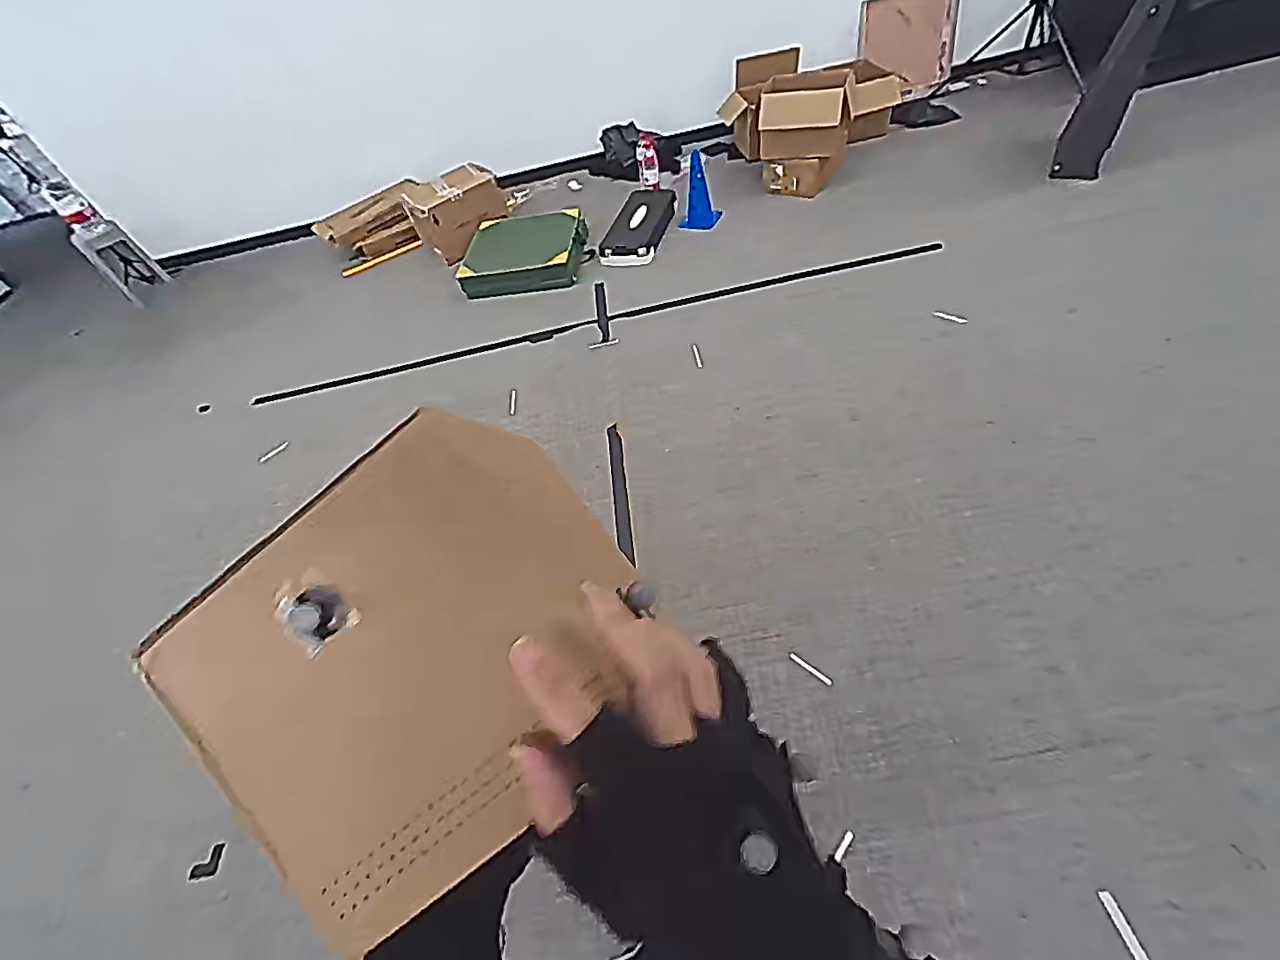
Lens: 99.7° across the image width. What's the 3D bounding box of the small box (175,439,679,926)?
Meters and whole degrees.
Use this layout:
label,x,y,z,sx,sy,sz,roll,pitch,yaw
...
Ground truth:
label,x,y,z,sx,sy,sz,roll,pitch,yaw
small box,-0.099,0.099,0.323,0.179,0.168,0.176,-40,86,5
